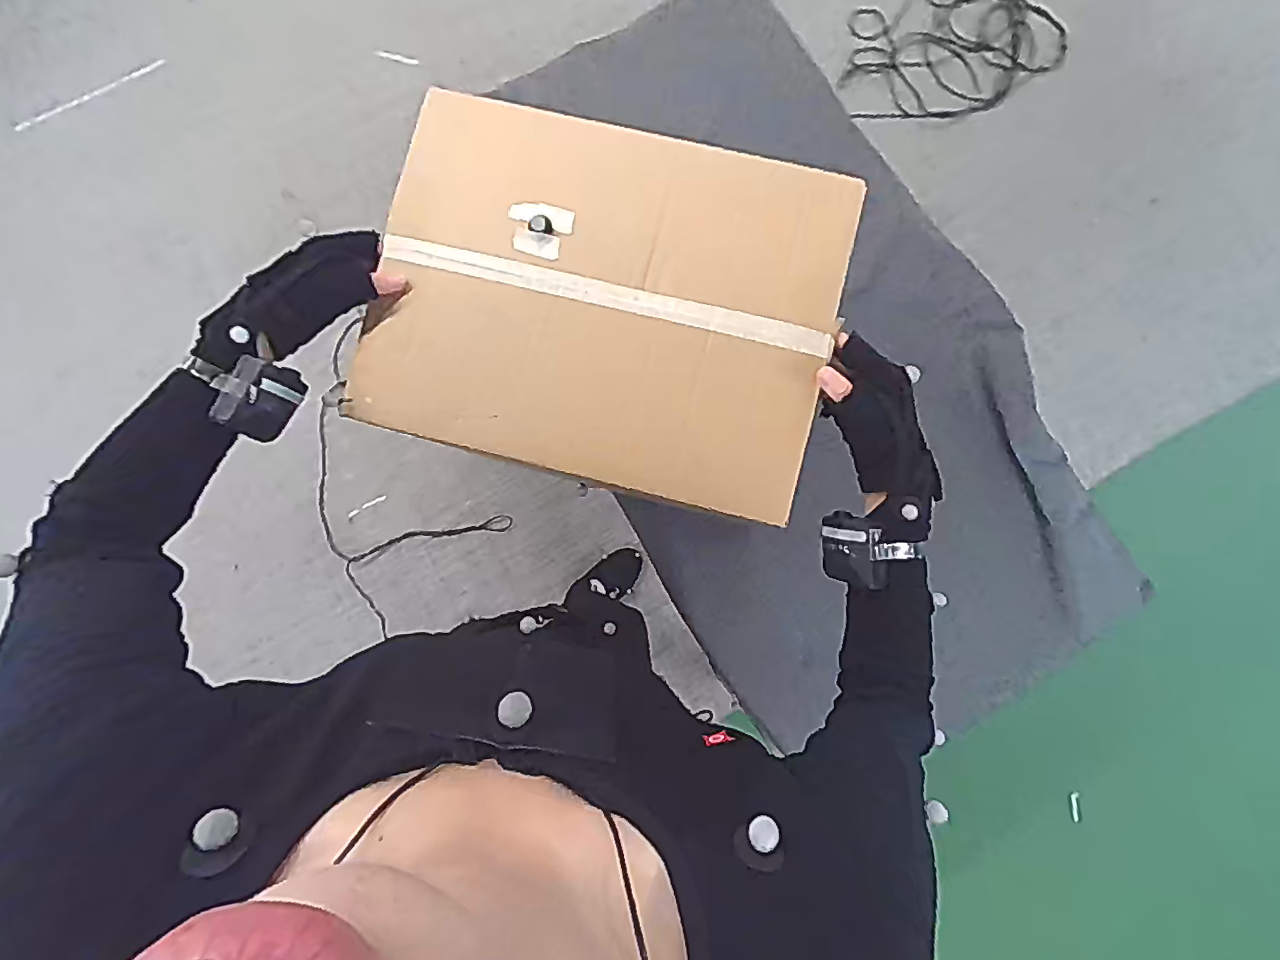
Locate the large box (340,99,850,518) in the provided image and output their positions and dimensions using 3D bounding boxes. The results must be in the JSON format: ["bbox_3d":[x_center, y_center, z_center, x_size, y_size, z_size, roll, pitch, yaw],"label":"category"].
[{"bbox_3d":[-0.033,-0.150,0.620,0.408,0.320,0.320,13,87,4],"label":"large box"}]
